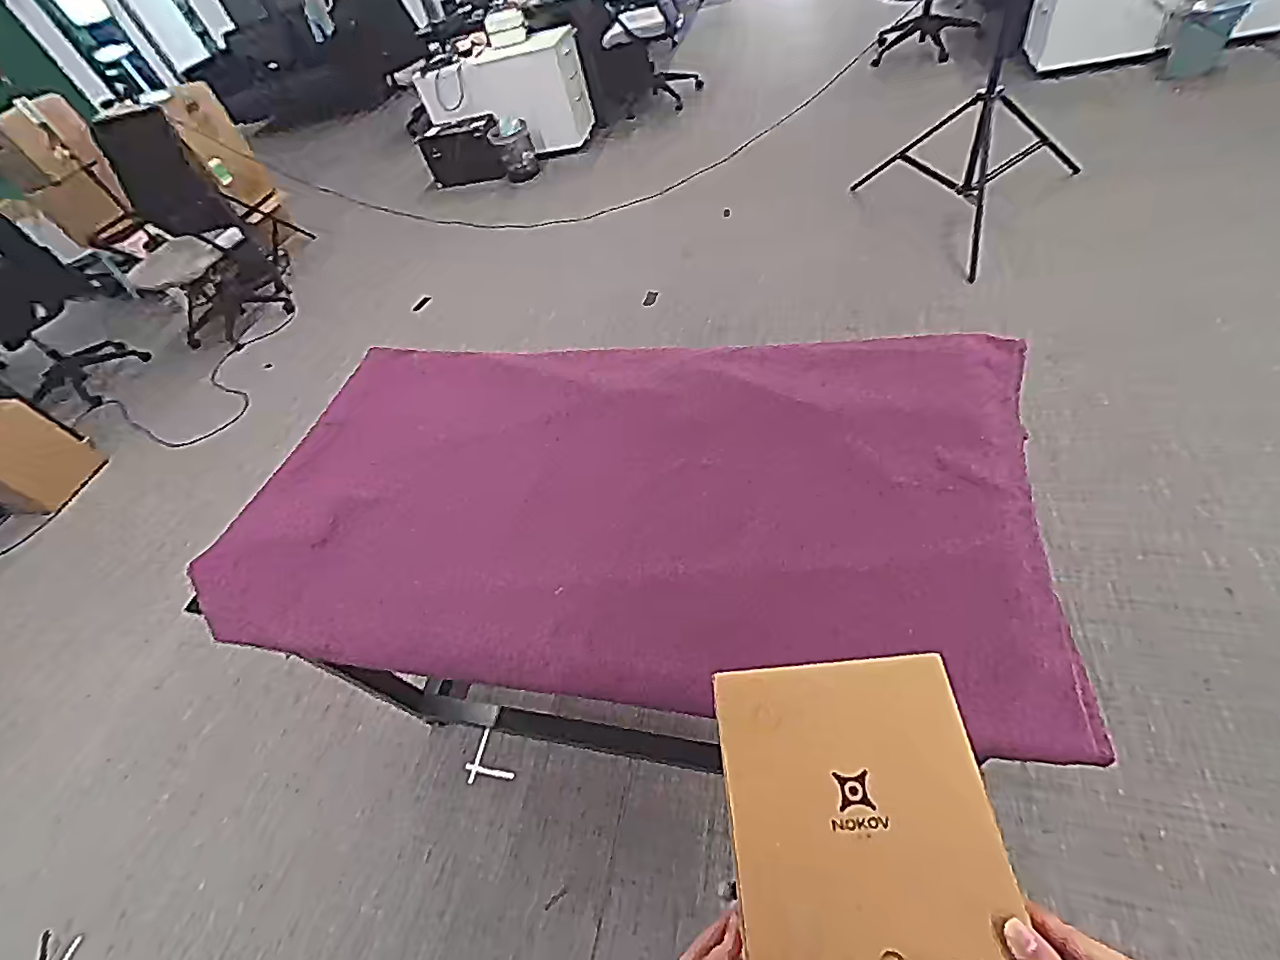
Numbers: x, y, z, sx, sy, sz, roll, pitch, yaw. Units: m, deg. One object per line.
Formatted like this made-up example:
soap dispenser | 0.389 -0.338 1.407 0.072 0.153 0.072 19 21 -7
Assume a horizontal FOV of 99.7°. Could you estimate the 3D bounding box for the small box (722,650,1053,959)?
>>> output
small box | 0.153 0.245 0.414 0.168 0.176 0.179 -7 58 6
